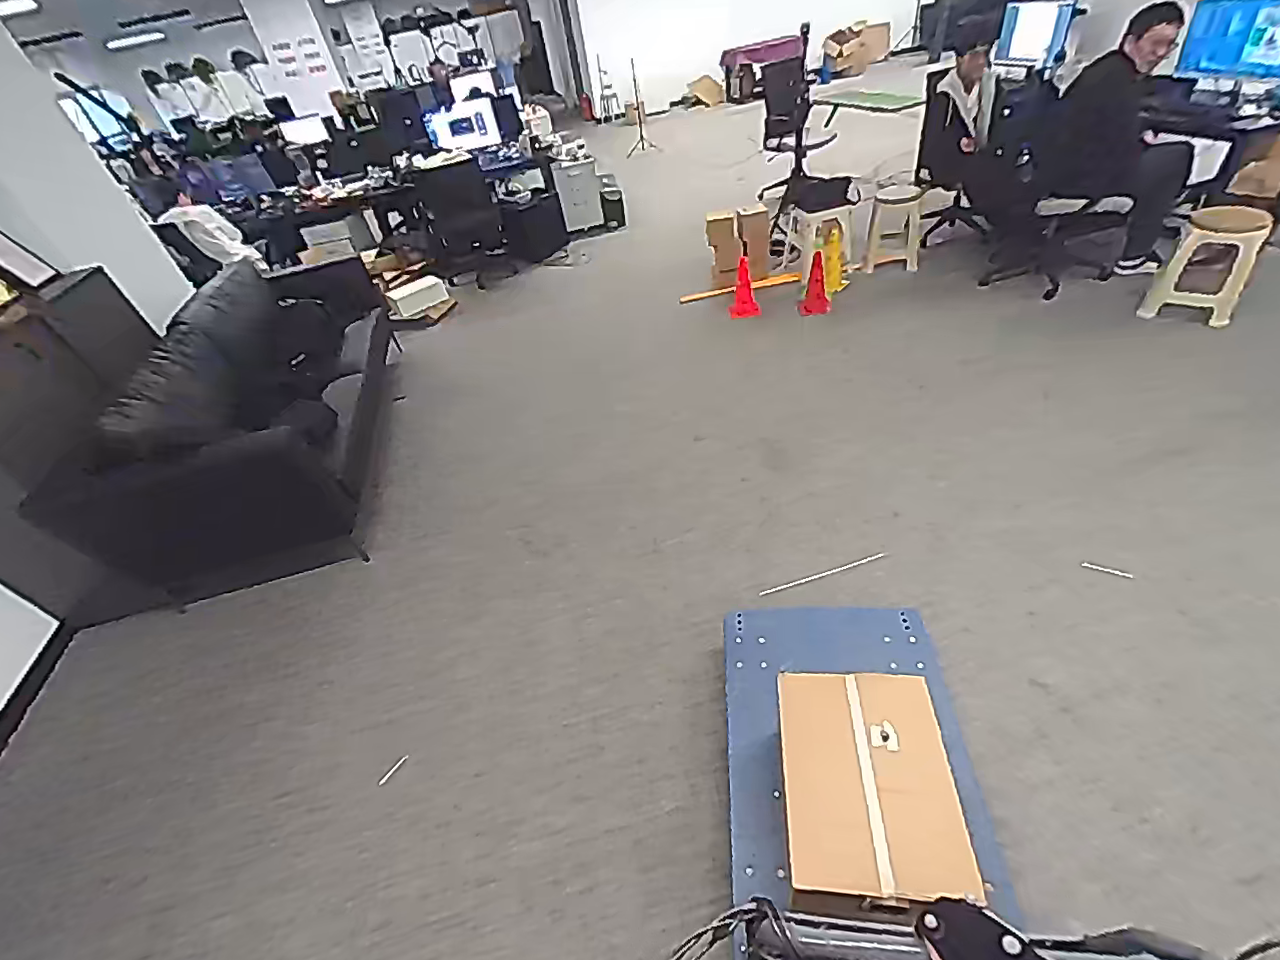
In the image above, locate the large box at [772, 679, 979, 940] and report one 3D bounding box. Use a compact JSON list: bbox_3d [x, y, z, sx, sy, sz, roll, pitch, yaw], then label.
[{"bbox_3d":[0.457,0.692,1.158,0.320,0.320,0.408,-2,41,11],"label":"large box"}]
